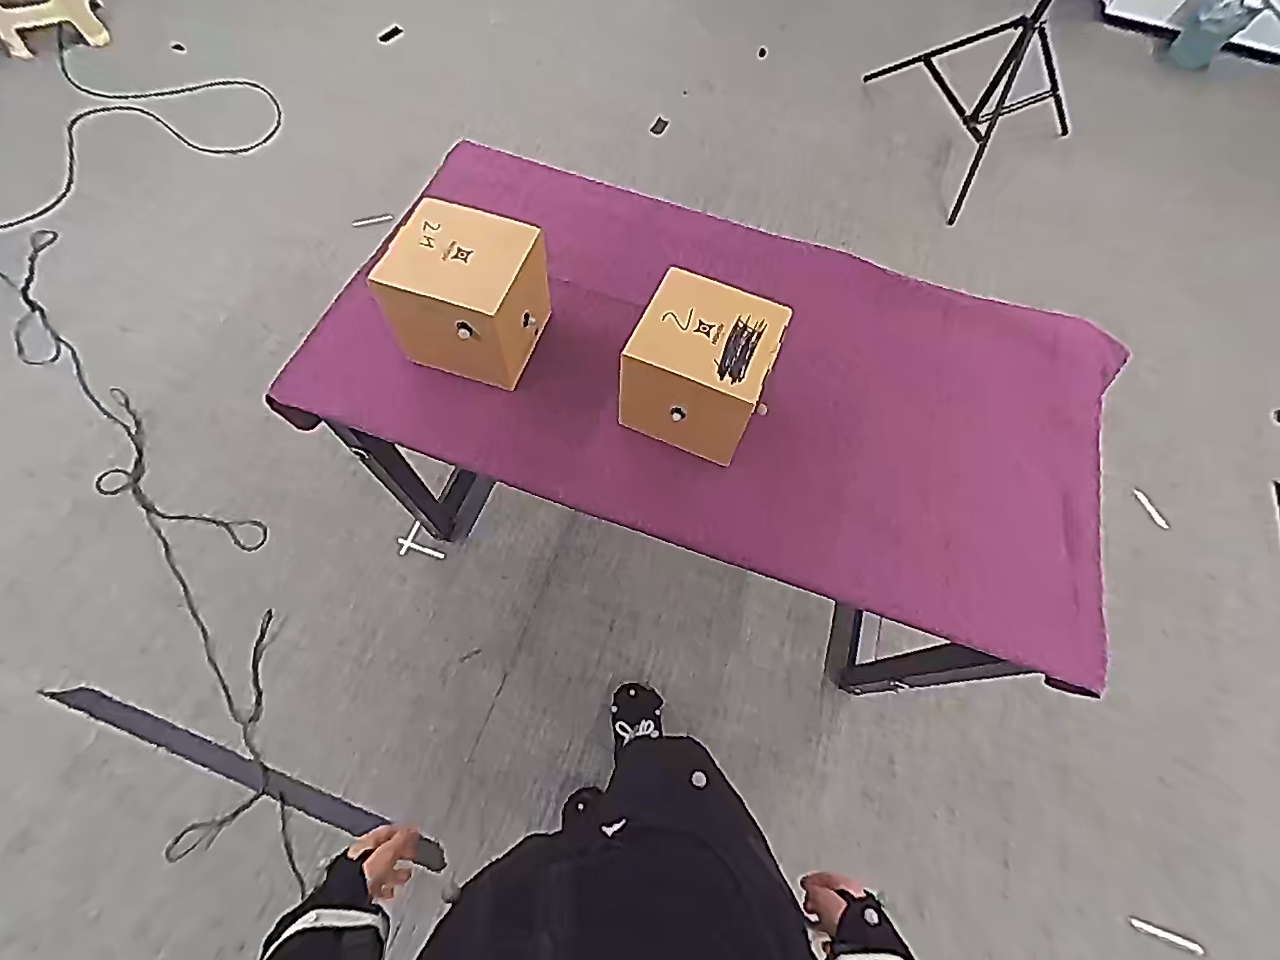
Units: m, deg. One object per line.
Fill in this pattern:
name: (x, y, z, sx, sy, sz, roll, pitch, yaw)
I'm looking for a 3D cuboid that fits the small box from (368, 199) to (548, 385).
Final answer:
small box: (-0.243, -0.261, 0.781, 0.179, 0.176, 0.168, 17, 64, 4)
